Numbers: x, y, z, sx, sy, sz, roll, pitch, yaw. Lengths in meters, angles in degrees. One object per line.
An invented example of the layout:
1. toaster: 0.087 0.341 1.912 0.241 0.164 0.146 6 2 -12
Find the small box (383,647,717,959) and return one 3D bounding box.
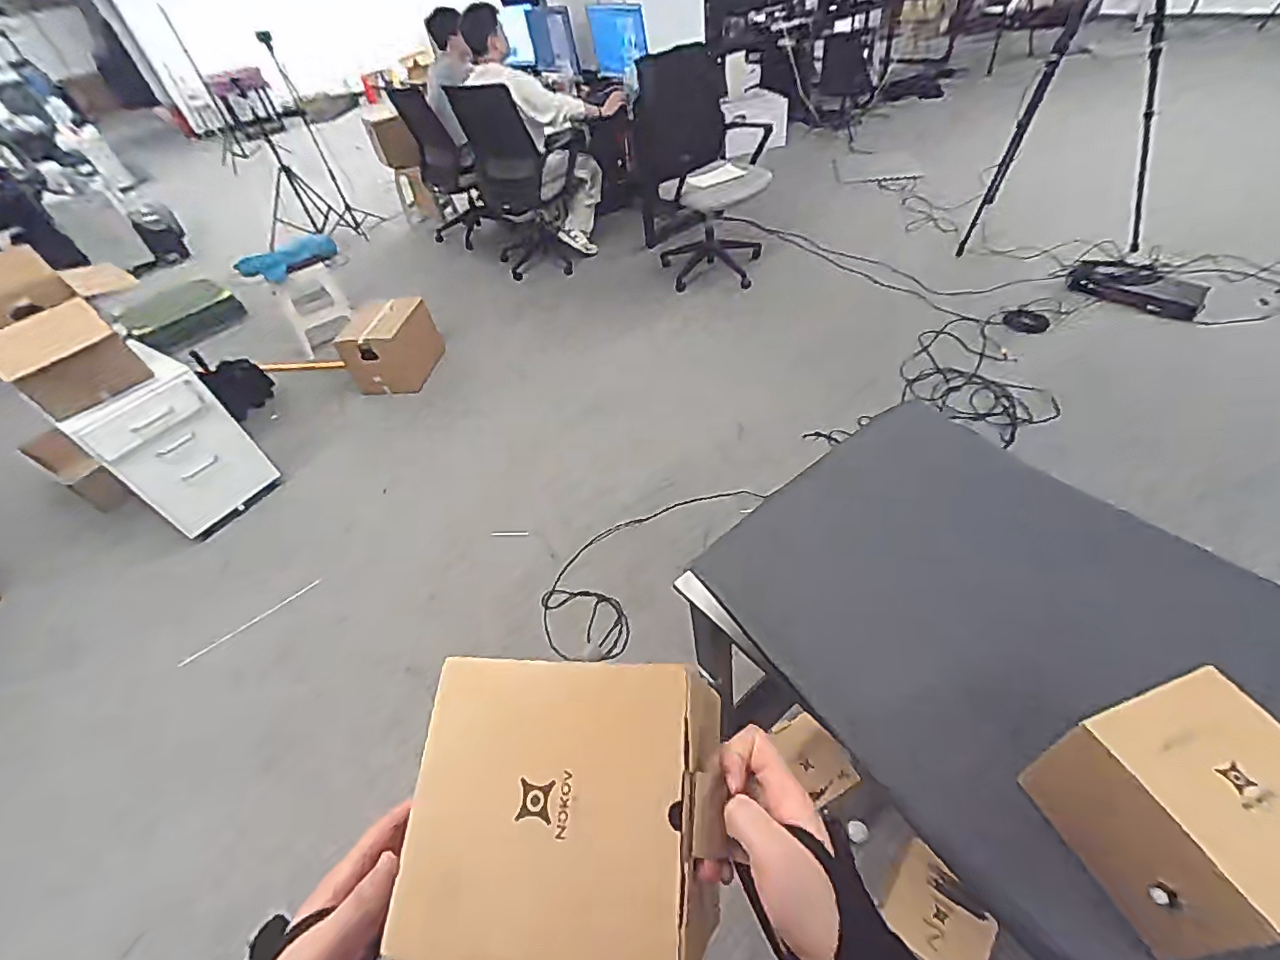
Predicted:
1. small box: -0.041 0.224 0.395 0.179 0.176 0.168 -3 62 13

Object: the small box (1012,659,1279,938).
1. small box: 0.528 0.318 0.537 0.168 0.176 0.179 -17 44 -10

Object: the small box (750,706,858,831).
1. small box: 0.369 0.669 1.252 0.168 0.176 0.179 -25 46 -13
